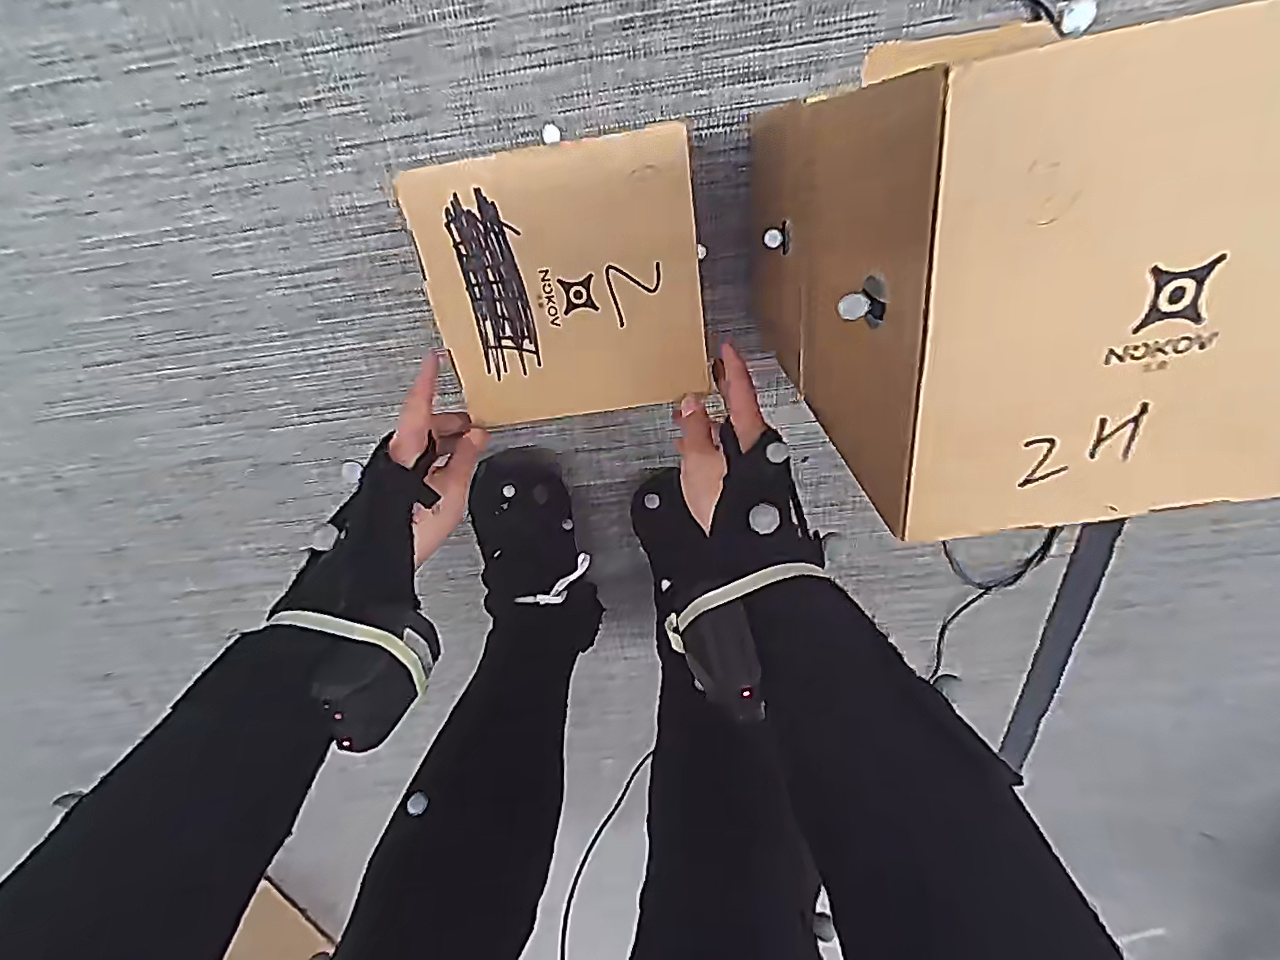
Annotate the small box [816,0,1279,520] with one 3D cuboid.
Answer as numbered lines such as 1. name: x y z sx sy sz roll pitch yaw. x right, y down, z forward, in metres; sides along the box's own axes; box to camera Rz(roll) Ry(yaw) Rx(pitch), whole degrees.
1. small box: 0.188 -0.106 0.260 0.168 0.176 0.179 -8 120 5

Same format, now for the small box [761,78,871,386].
1. small box: 0.187 -0.189 0.403 0.168 0.176 0.179 -6 121 4
